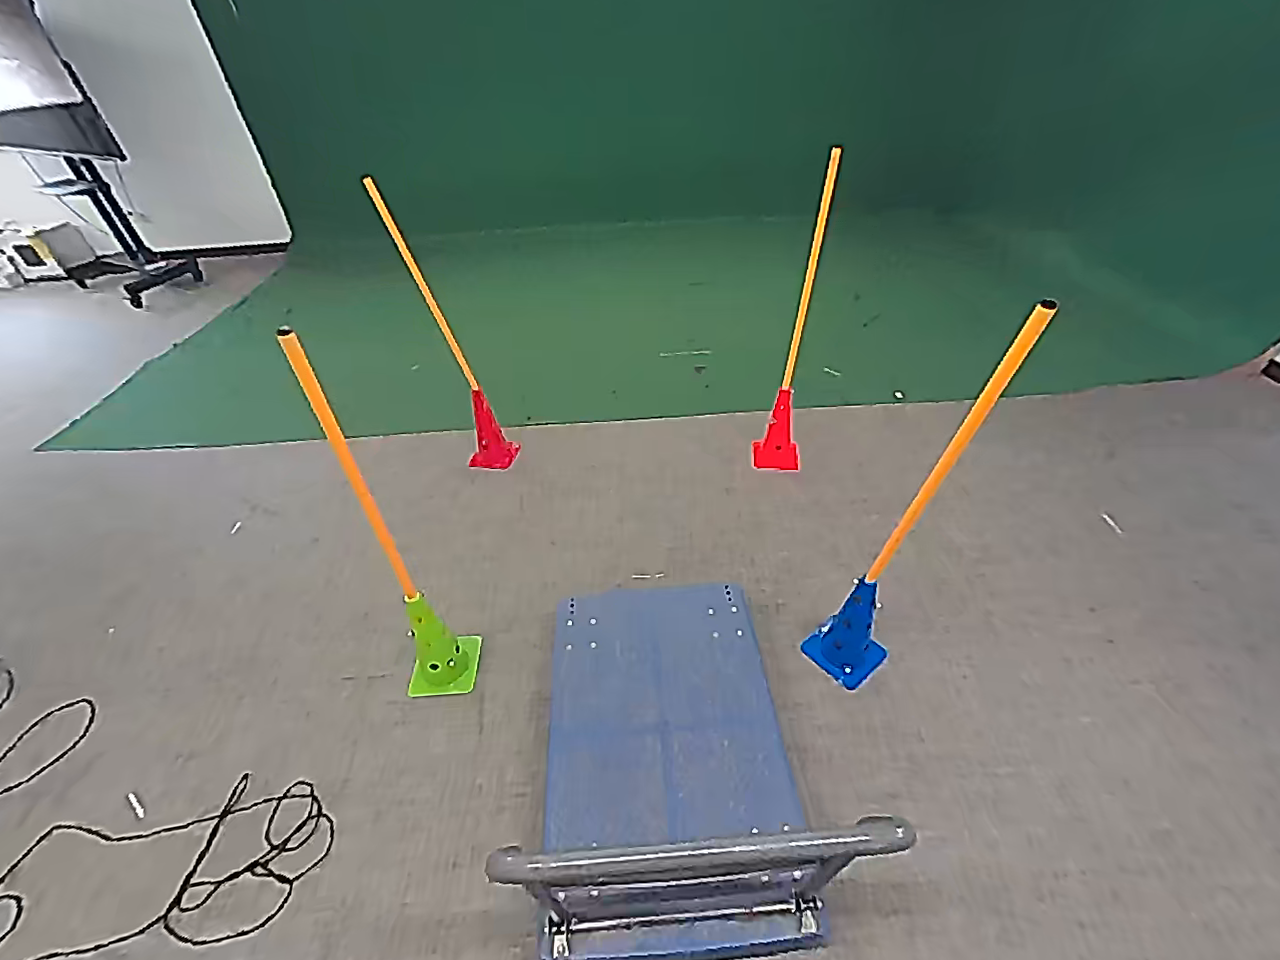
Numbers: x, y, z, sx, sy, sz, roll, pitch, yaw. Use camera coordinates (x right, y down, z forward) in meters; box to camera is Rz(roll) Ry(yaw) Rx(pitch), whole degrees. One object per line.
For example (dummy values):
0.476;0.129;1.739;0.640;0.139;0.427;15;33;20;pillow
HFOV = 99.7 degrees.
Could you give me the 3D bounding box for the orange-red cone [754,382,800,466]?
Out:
0.601;-0.254;2.308;0.198;0.360;0.199;3;42;9;orange-red cone
